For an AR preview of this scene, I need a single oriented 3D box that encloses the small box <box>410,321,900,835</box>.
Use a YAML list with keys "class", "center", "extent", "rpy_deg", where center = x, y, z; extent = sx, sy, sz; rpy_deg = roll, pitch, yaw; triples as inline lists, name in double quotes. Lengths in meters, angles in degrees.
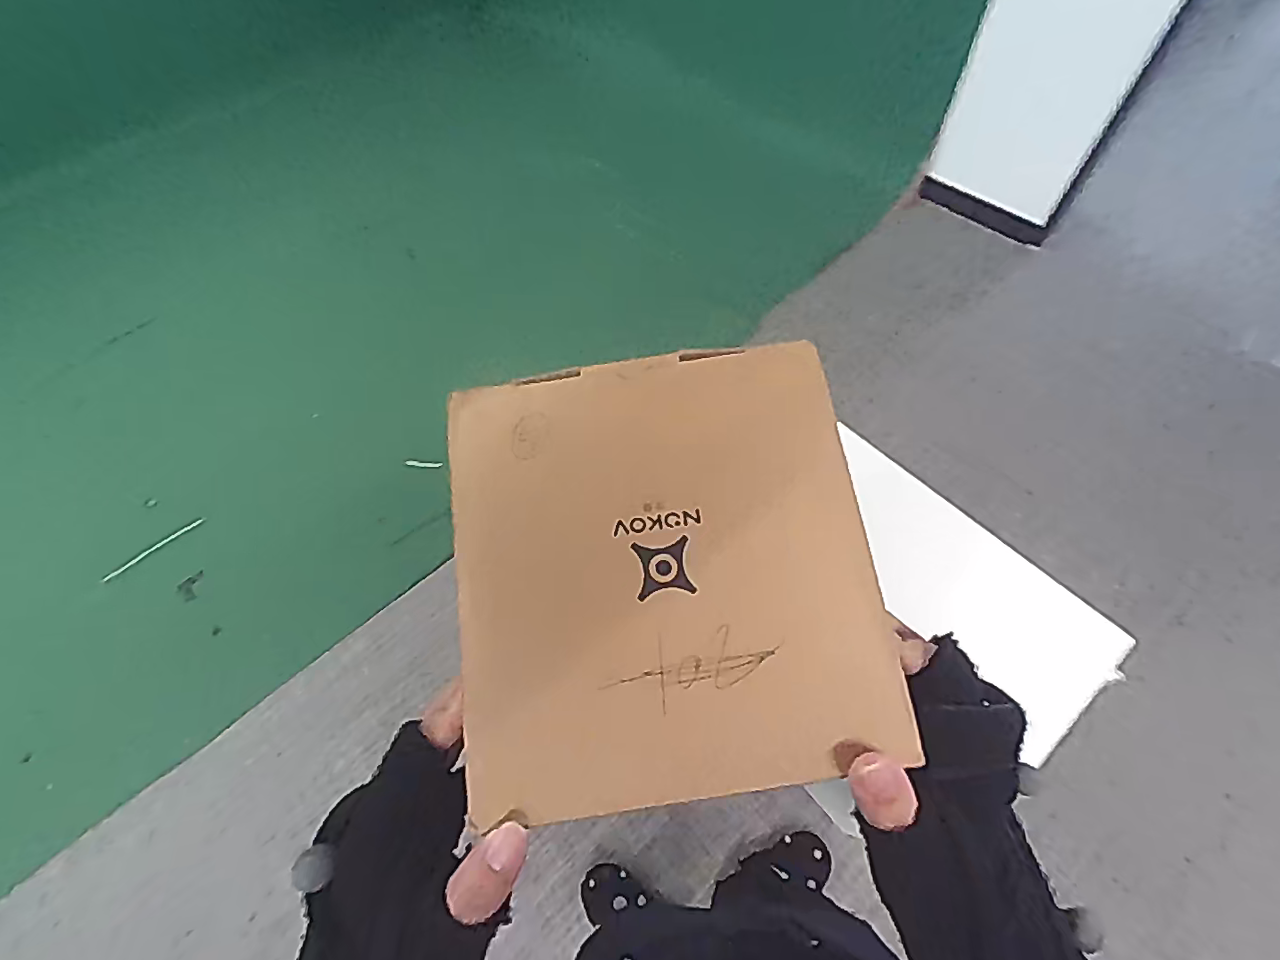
- class: "small box"
  center: [-0.003, 0.047, 0.282]
  extent: [0.168, 0.176, 0.179]
  rpy_deg: [-9, 75, -1]
